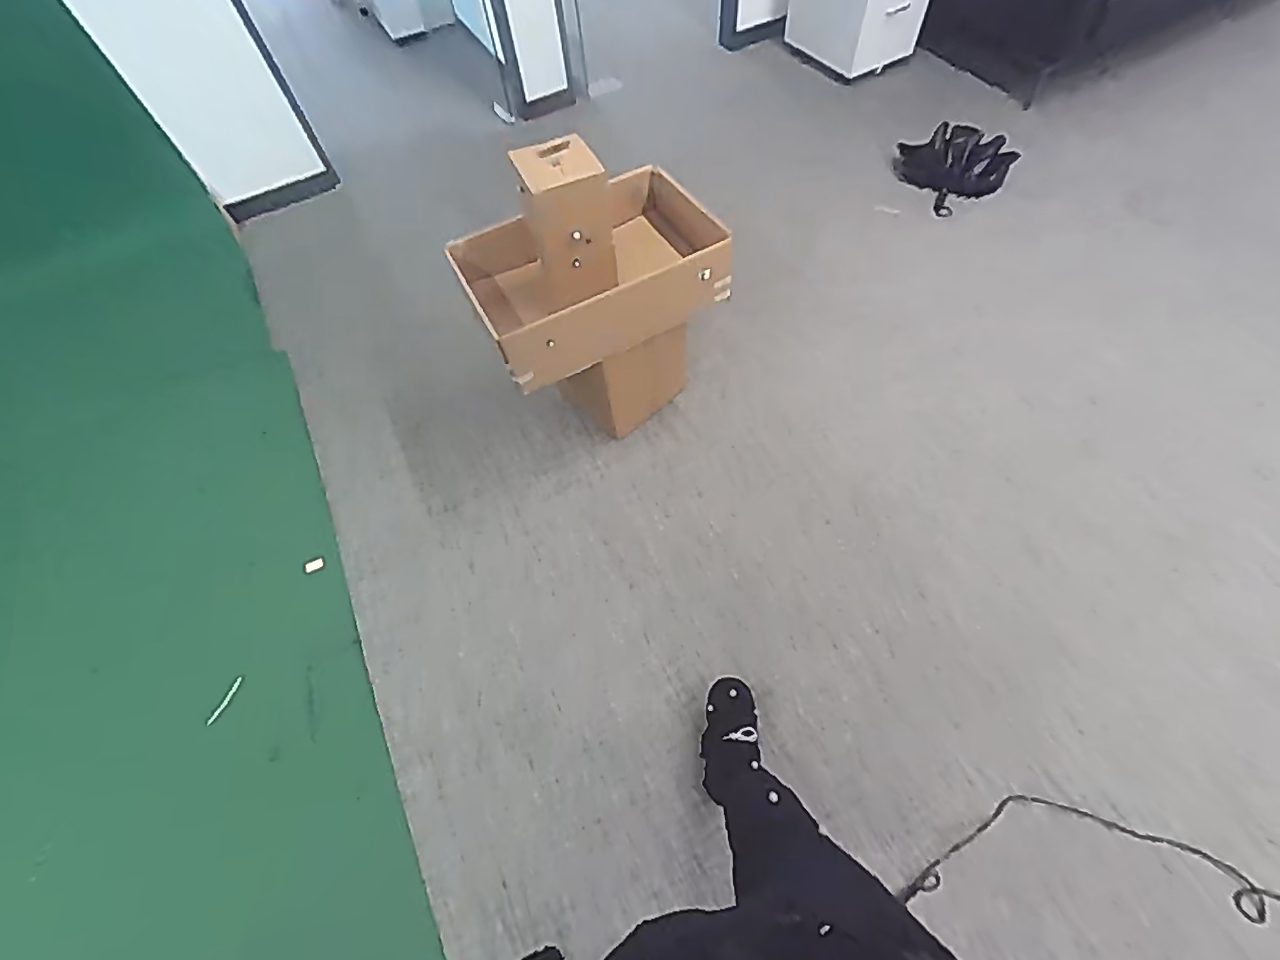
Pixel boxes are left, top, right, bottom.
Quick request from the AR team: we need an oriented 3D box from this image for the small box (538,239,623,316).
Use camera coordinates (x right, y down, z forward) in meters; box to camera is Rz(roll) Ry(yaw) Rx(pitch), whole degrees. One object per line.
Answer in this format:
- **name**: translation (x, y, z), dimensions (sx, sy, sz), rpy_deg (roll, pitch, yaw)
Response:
- **small box**: translation (-0.152, -0.548, 1.363), dimensions (0.168, 0.176, 0.179), rpy_deg (-20, 59, -7)

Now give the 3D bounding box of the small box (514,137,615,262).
- **small box**: translation (-0.167, -0.631, 1.222), dimensions (0.168, 0.176, 0.179), rpy_deg (-22, 61, -9)
